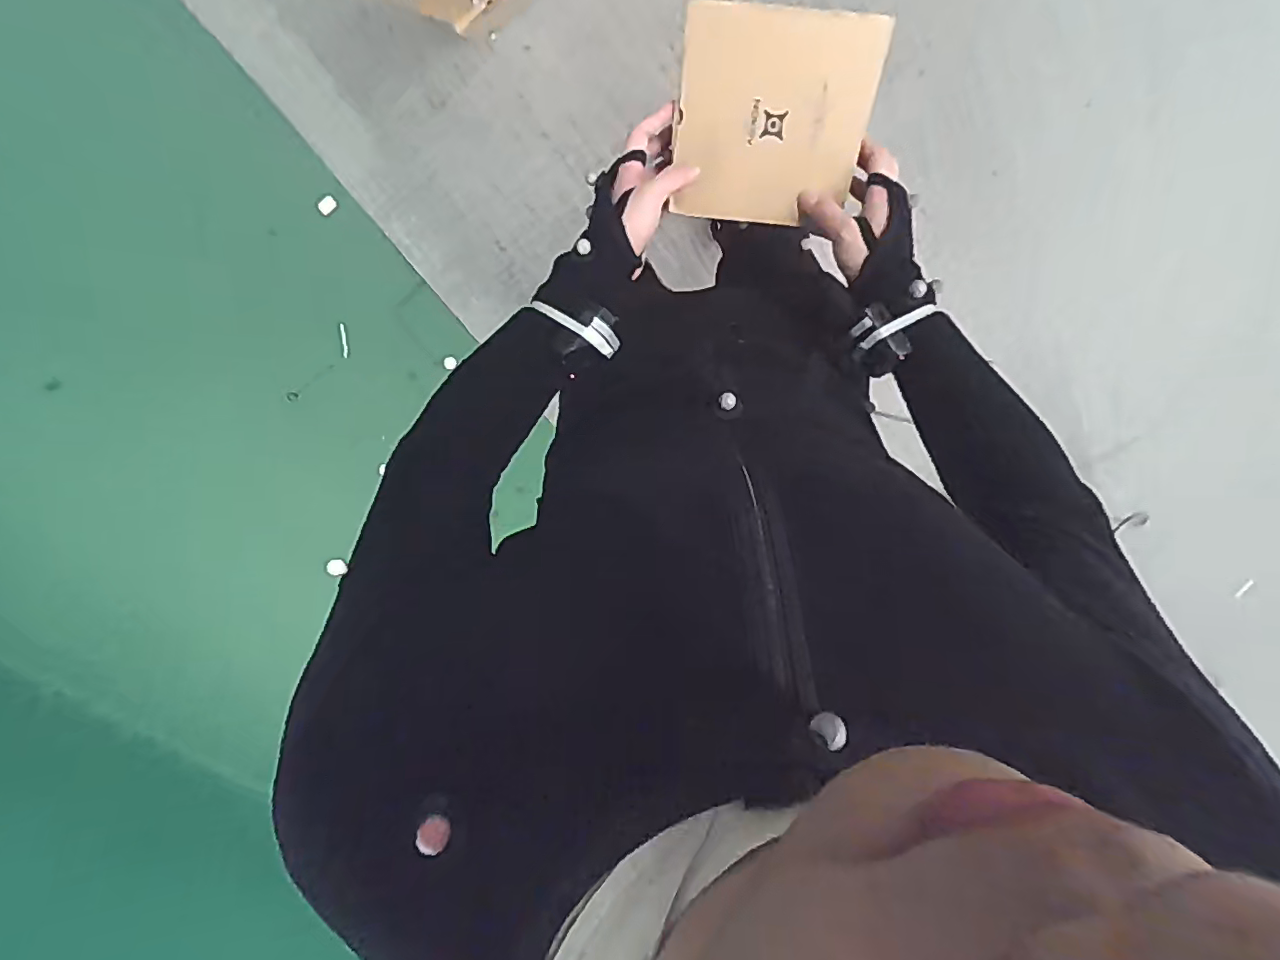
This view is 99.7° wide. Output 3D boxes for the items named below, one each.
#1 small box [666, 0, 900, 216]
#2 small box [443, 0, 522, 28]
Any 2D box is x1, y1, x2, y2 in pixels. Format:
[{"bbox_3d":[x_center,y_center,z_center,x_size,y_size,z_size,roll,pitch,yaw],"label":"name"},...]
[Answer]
[{"bbox_3d":[0.125,-0.383,0.549,0.179,0.176,0.168,7,128,1],"label":"small box"},{"bbox_3d":[-0.317,-1.015,1.040,0.168,0.176,0.179,-23,119,18],"label":"small box"}]
